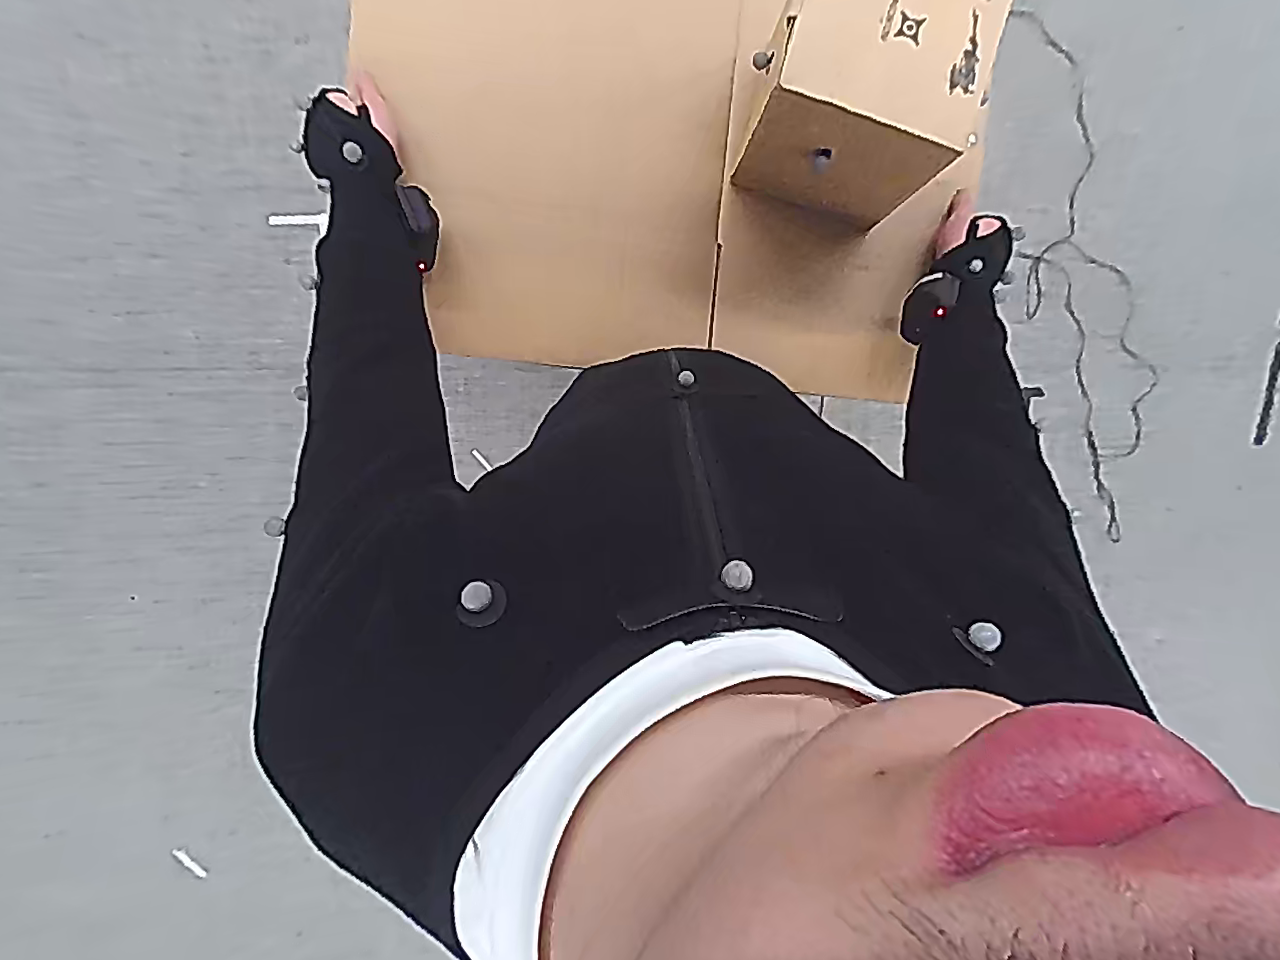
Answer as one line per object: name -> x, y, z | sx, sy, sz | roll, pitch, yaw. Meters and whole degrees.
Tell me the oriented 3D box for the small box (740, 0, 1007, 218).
small box -> 0.215, -0.392, 0.540 | 0.179, 0.176, 0.168 | 16, 93, -4
